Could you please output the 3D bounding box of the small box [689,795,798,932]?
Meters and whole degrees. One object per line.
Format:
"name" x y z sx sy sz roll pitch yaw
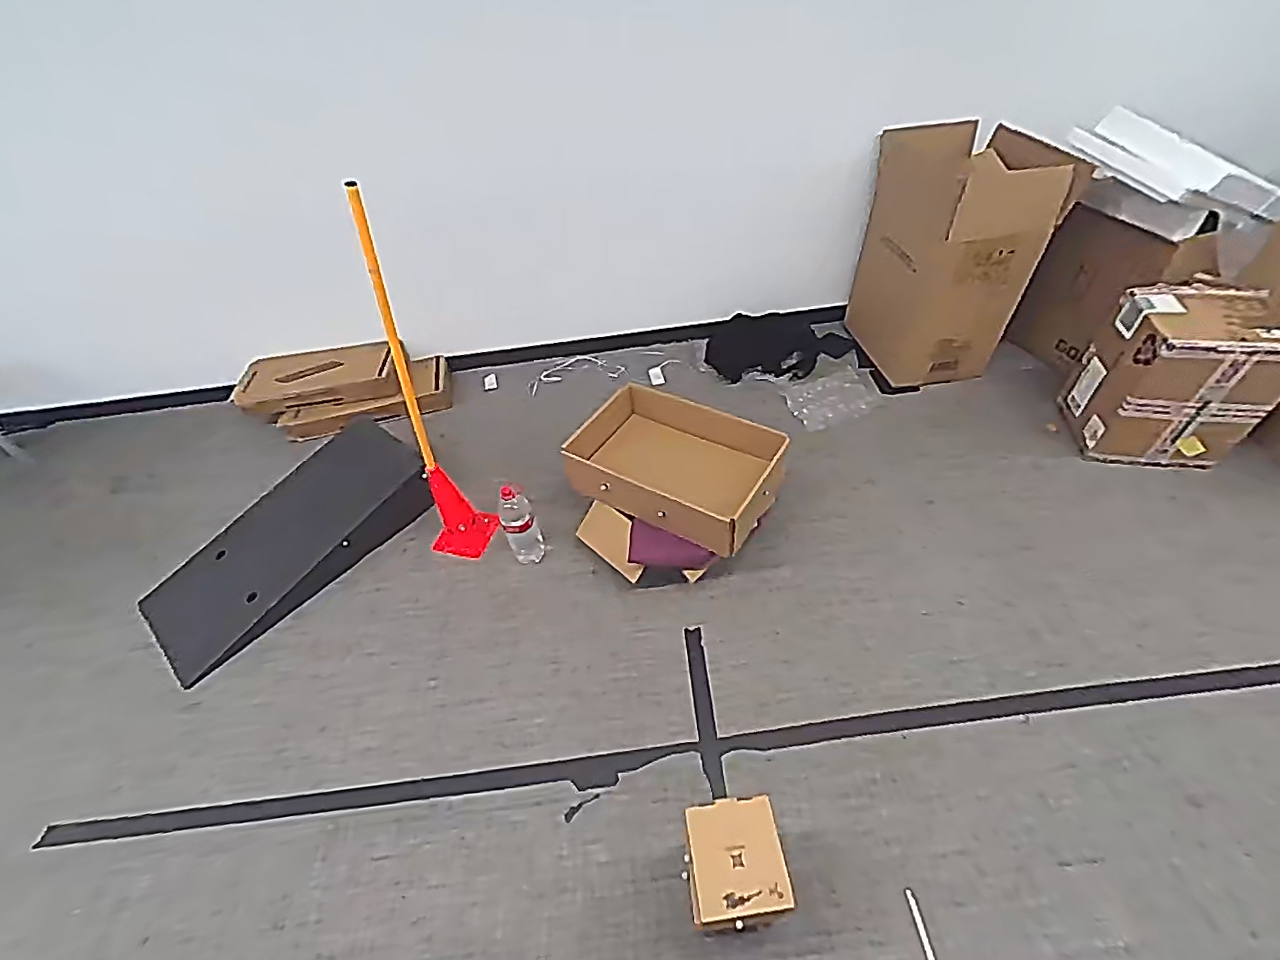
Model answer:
"small box" 0.187 0.733 1.034 0.168 0.176 0.179 -9 45 -1
